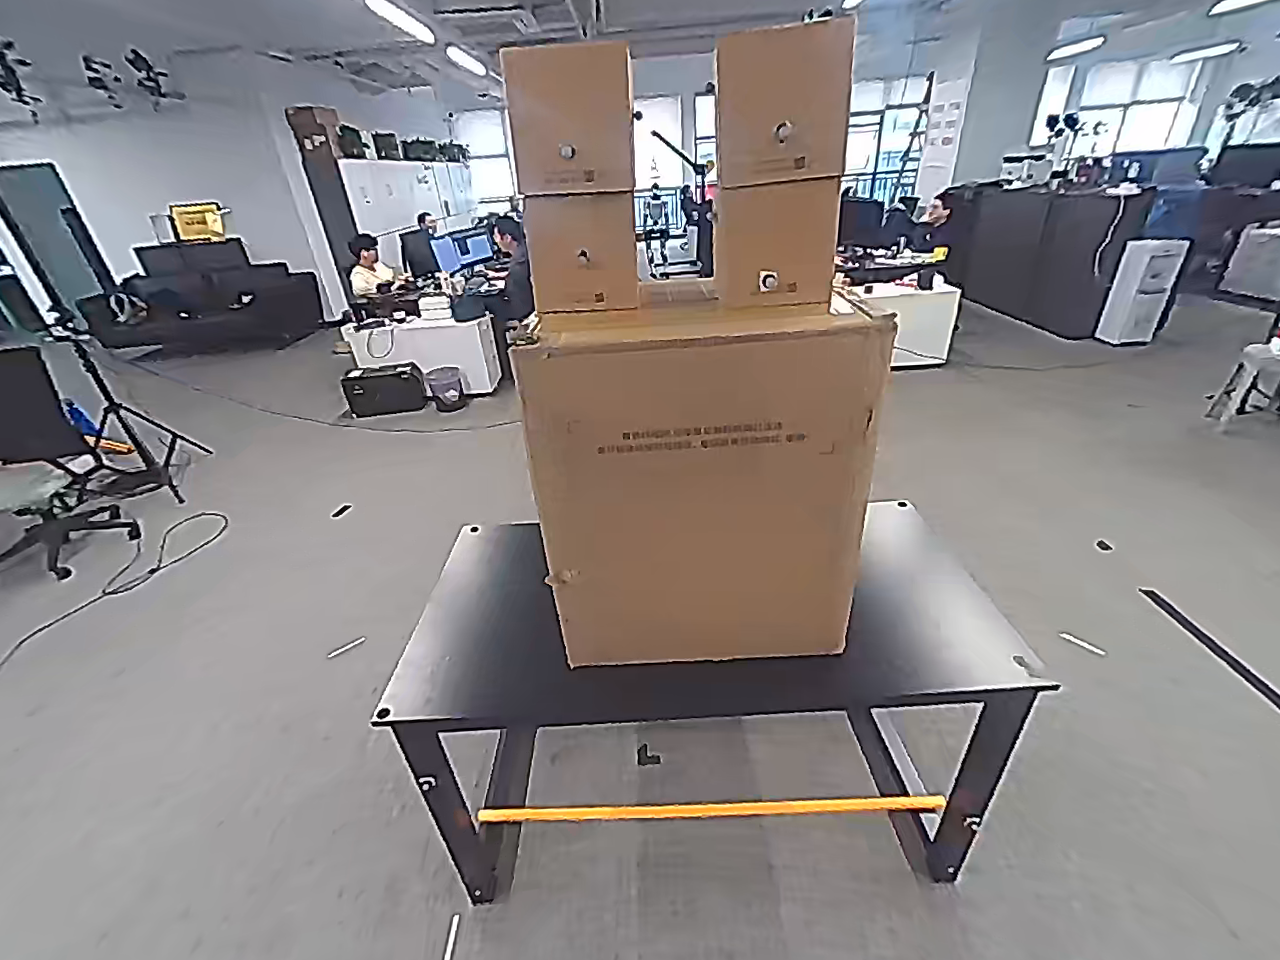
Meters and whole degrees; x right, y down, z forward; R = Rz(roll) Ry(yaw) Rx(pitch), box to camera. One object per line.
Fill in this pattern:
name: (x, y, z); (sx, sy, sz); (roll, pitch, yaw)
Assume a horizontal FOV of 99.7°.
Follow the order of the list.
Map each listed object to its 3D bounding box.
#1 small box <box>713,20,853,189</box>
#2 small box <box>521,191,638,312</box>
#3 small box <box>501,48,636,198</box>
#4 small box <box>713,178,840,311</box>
small box: (0.187, -0.511, 0.760); (0.168, 0.176, 0.179); (-3, 30, 7)
small box: (-0.089, -0.379, 0.895); (0.168, 0.176, 0.179); (-2, 30, 1)
small box: (-0.093, -0.514, 0.799); (0.168, 0.176, 0.179); (-2, 30, 2)
small box: (0.202, -0.372, 0.849); (0.168, 0.176, 0.179); (-4, 31, 5)
